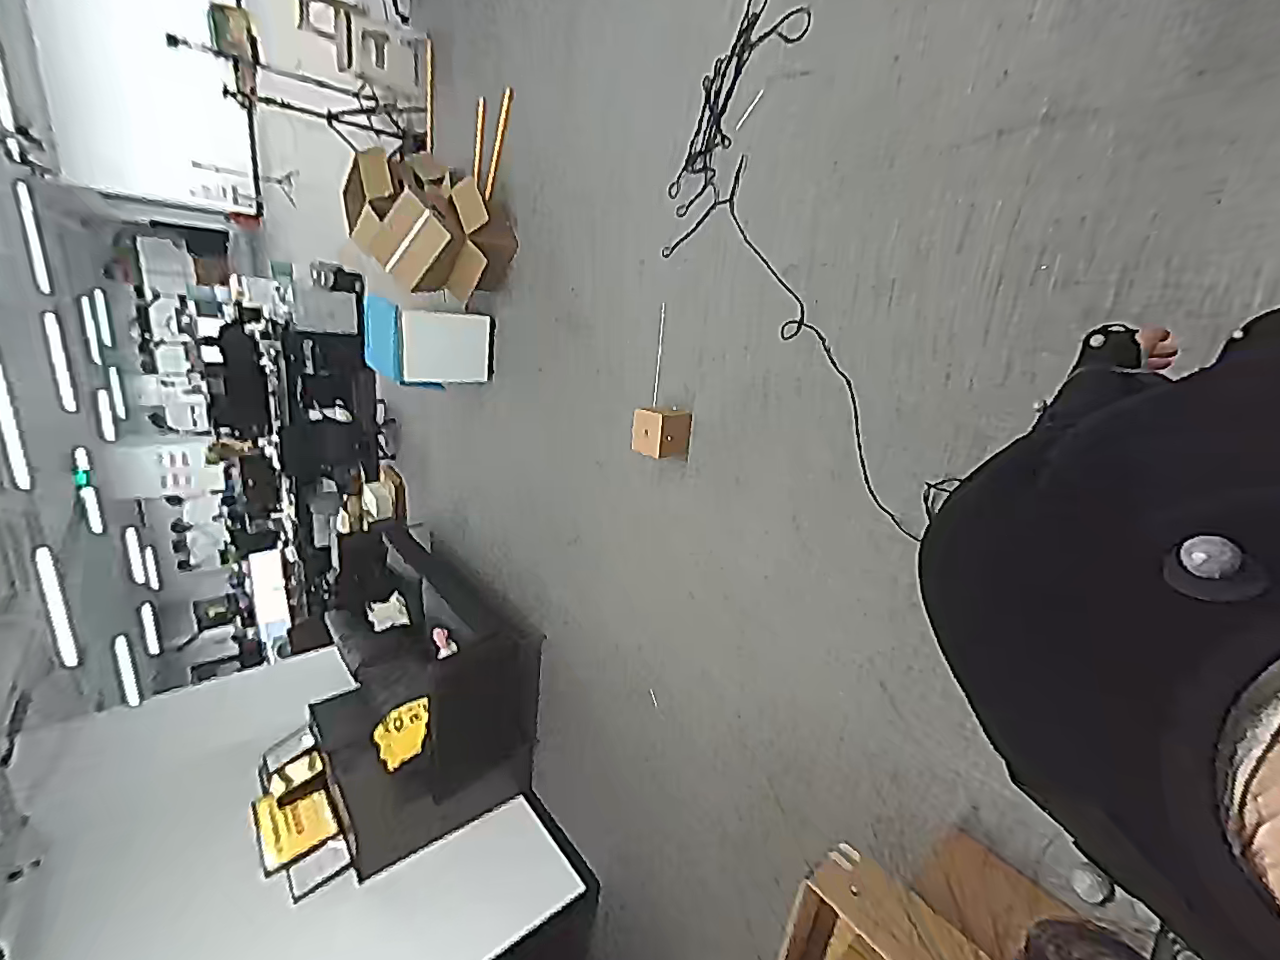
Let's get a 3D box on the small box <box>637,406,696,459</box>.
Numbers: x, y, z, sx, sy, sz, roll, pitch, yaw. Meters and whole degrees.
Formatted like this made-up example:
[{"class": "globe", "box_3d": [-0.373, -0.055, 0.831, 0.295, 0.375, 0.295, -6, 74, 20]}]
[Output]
[{"class": "small box", "box_3d": [0.107, -0.195, 2.170, 0.168, 0.176, 0.179, 23, 114, 46]}]
